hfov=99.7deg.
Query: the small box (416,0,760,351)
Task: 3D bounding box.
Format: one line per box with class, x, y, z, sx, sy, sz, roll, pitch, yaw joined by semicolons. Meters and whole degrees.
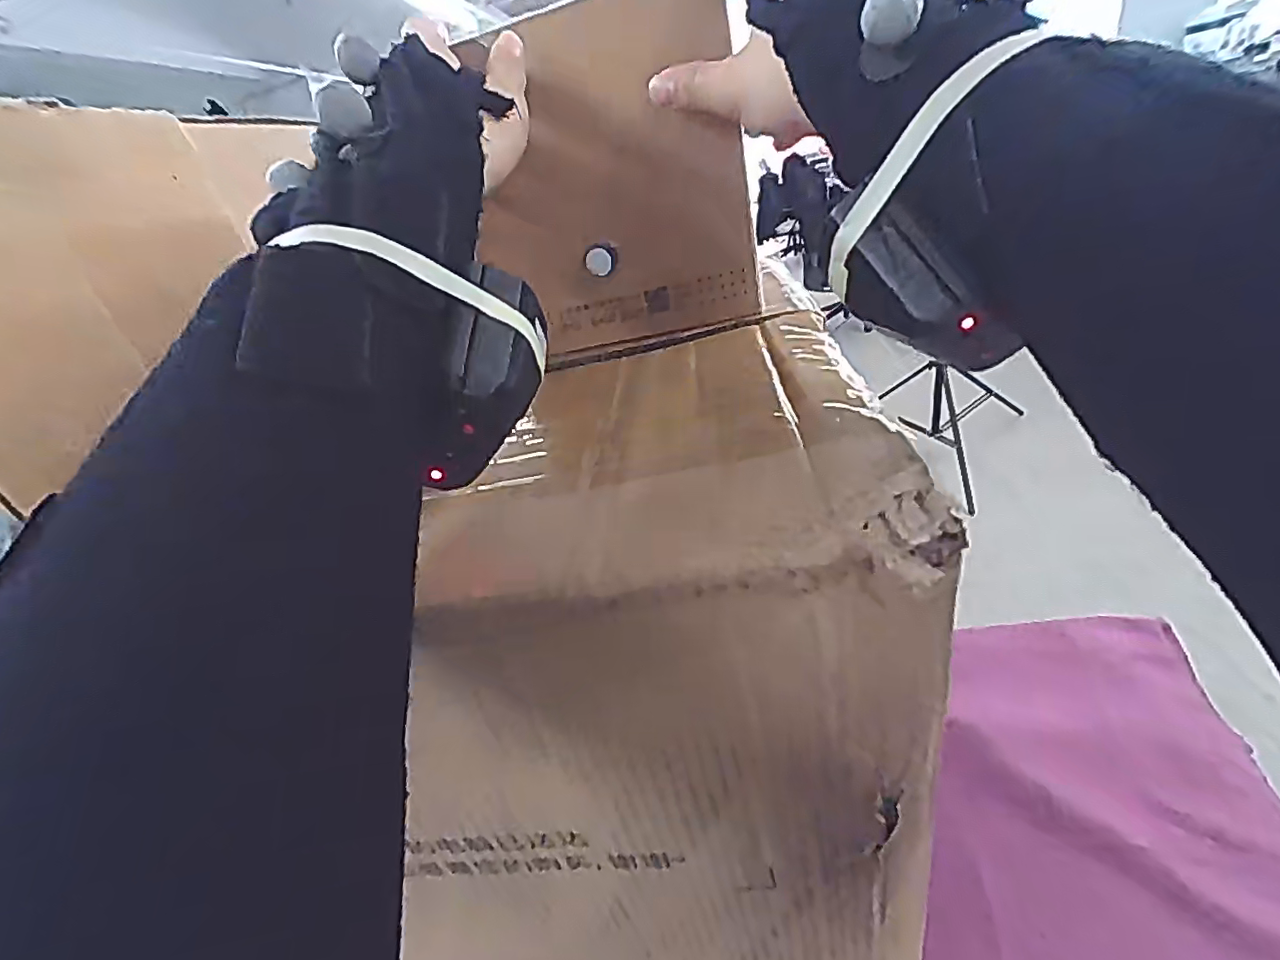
small box;-0.012;-0.203;0.373;0.168;0.176;0.179;-8;31;14
